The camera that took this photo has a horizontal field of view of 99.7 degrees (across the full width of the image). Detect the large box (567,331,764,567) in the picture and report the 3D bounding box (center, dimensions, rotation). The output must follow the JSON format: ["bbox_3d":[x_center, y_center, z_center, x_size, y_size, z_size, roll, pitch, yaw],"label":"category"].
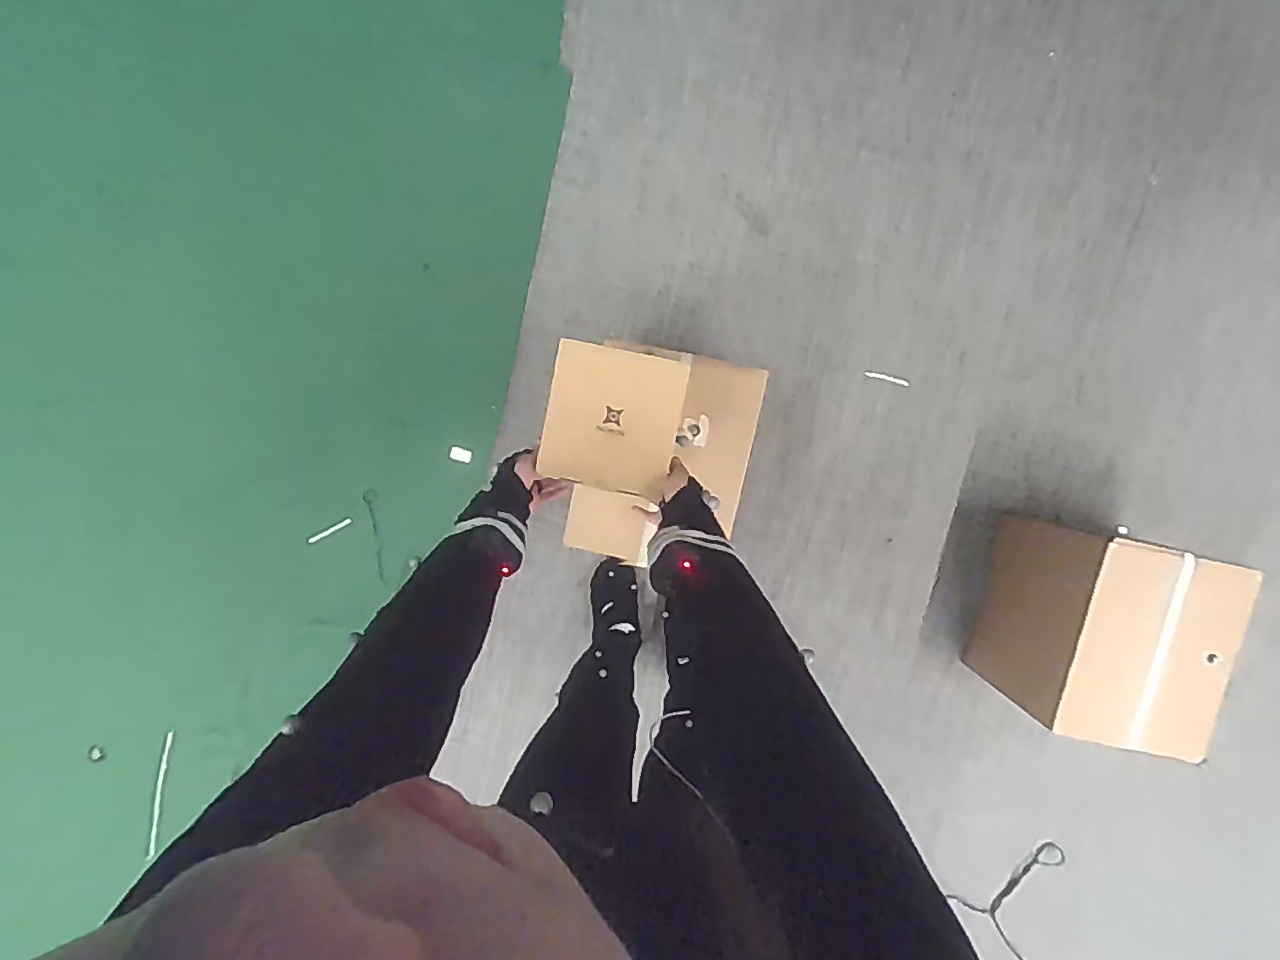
[{"bbox_3d":[0.048,-0.066,1.163,0.320,0.320,0.408,12,96,-1],"label":"large box"}]

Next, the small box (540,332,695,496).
[{"bbox_3d":[-0.027,-0.091,0.750,0.168,0.176,0.179,12,98,1],"label":"small box"}]
